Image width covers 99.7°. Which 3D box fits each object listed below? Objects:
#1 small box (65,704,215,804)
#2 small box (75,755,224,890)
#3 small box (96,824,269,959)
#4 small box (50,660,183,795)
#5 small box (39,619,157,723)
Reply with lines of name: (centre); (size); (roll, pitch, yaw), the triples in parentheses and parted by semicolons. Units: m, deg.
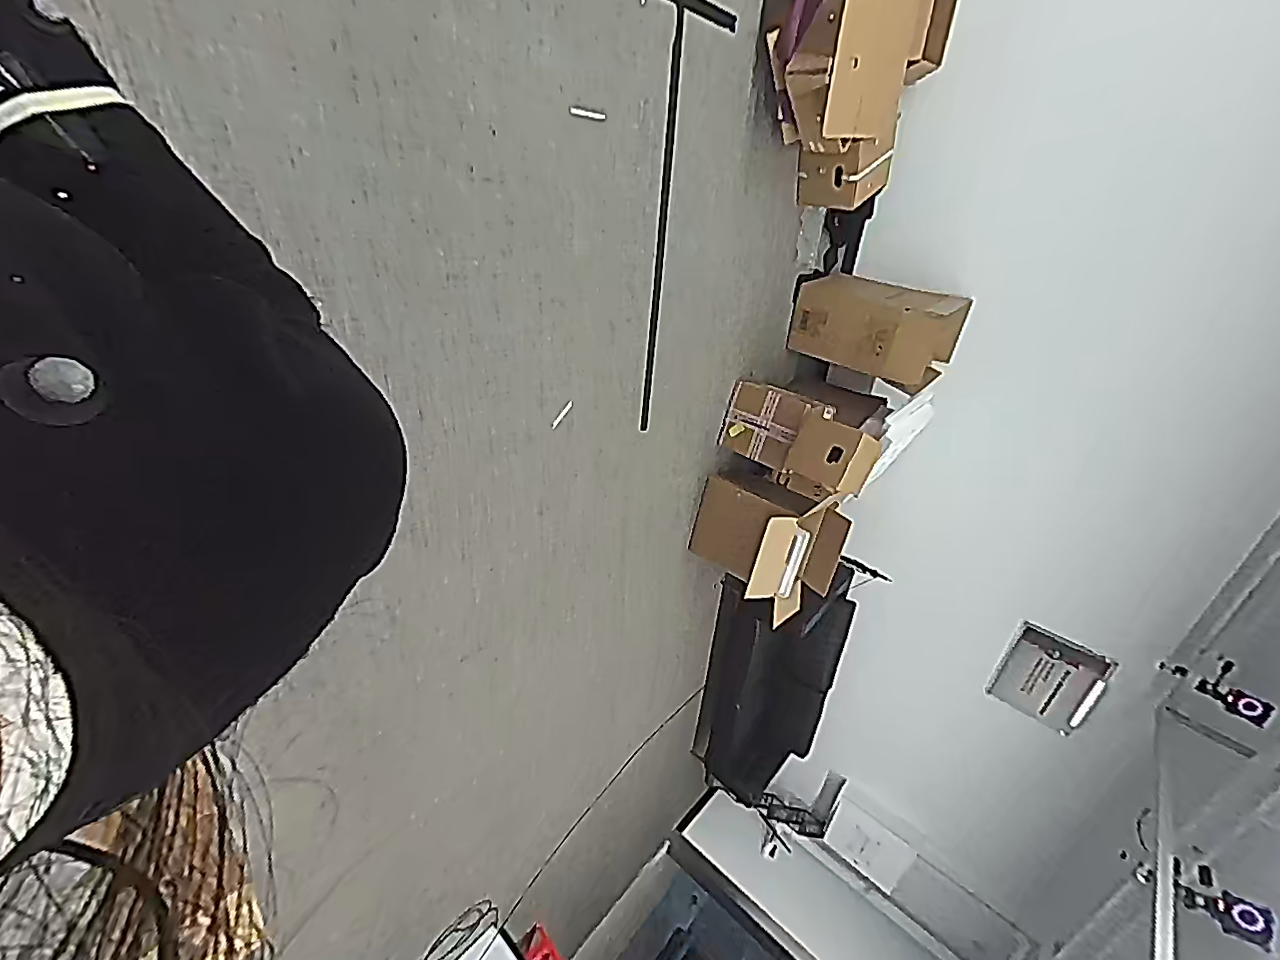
small box: (-0.988, 0.586, 1.074); (0.179, 0.176, 0.168); (-18, 124, -48)
small box: (-0.871, 0.646, 0.974); (0.168, 0.176, 0.179); (-20, 125, -49)
small box: (-0.748, 0.713, 0.888); (0.168, 0.176, 0.179); (-22, 127, -47)
small box: (-1.110, 0.520, 1.157); (0.179, 0.176, 0.168); (-15, 122, -50)
small box: (-1.234, 0.453, 1.242); (0.179, 0.176, 0.168); (-19, 126, -48)
